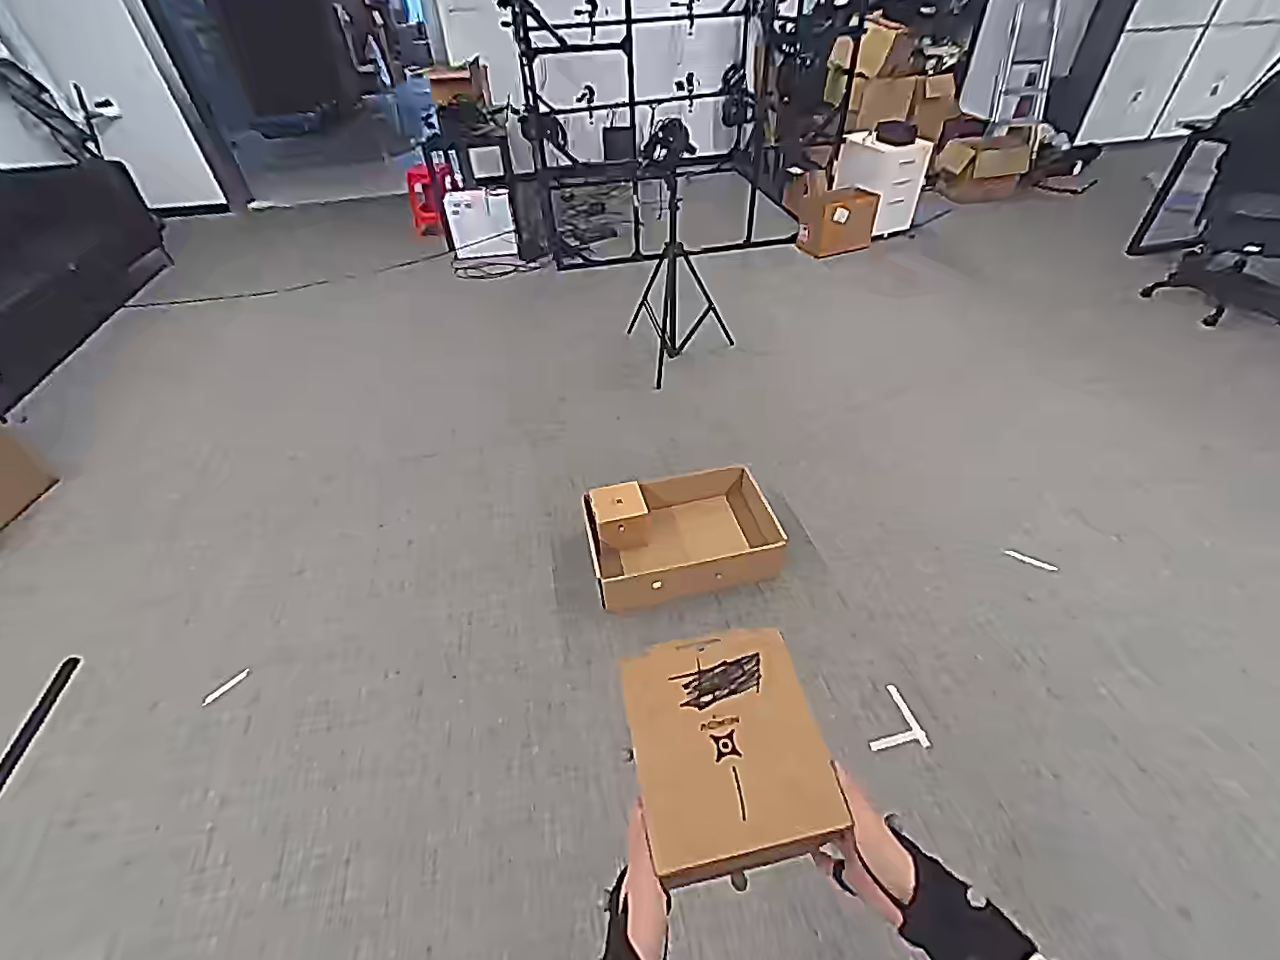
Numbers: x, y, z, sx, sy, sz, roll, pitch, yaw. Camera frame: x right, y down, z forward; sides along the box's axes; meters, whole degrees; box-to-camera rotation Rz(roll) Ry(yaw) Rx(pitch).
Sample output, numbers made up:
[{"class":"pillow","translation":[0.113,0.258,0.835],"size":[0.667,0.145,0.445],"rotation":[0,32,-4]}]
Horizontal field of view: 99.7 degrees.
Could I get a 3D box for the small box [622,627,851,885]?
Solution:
[{"class":"small box","translation":[0.078,0.276,0.540],"size":[0.168,0.176,0.179],"rotation":[-11,50,-5]}]
